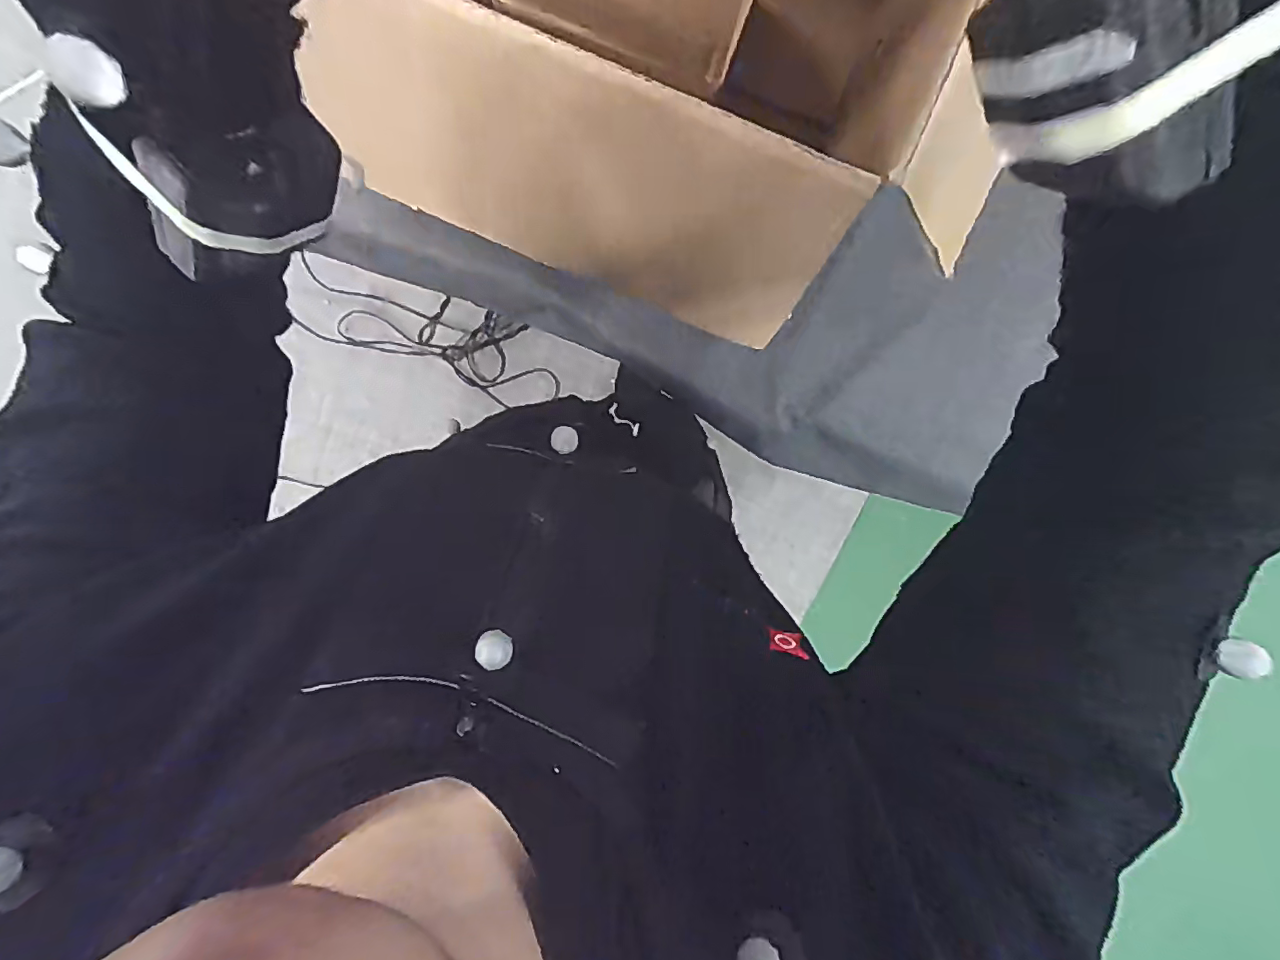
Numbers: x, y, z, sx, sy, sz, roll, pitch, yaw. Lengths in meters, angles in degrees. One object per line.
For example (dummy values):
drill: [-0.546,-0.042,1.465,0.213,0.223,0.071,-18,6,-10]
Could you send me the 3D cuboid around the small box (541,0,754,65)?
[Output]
small box: [0.010,-0.373,0.289,0.179,0.176,0.168,21,101,-3]
